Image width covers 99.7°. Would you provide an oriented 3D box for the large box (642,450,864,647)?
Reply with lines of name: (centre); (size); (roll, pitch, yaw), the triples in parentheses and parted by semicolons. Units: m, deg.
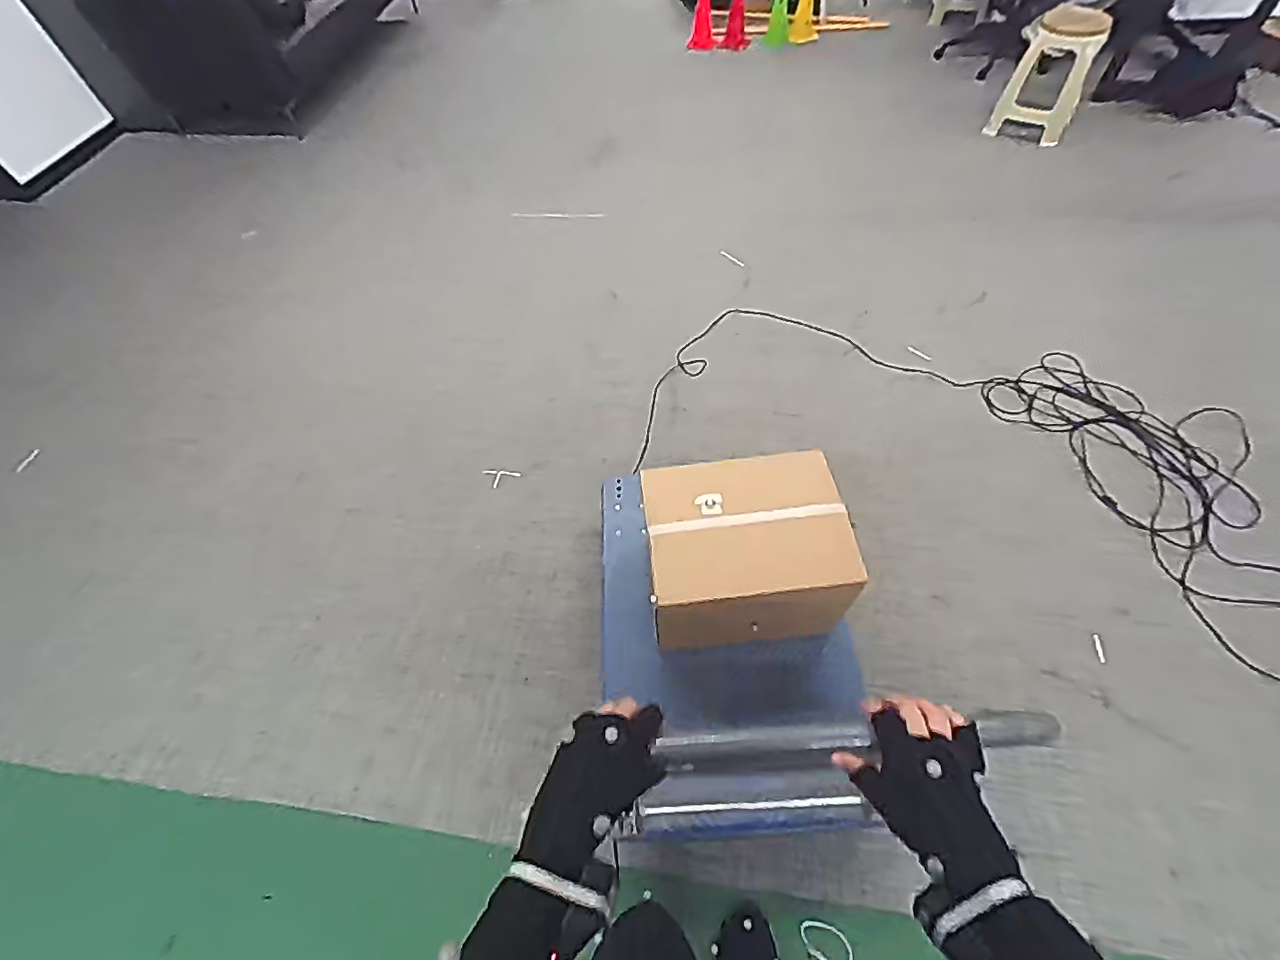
large box: (0.227, 0.166, 1.233); (0.408, 0.320, 0.320); (-7, 56, 0)
